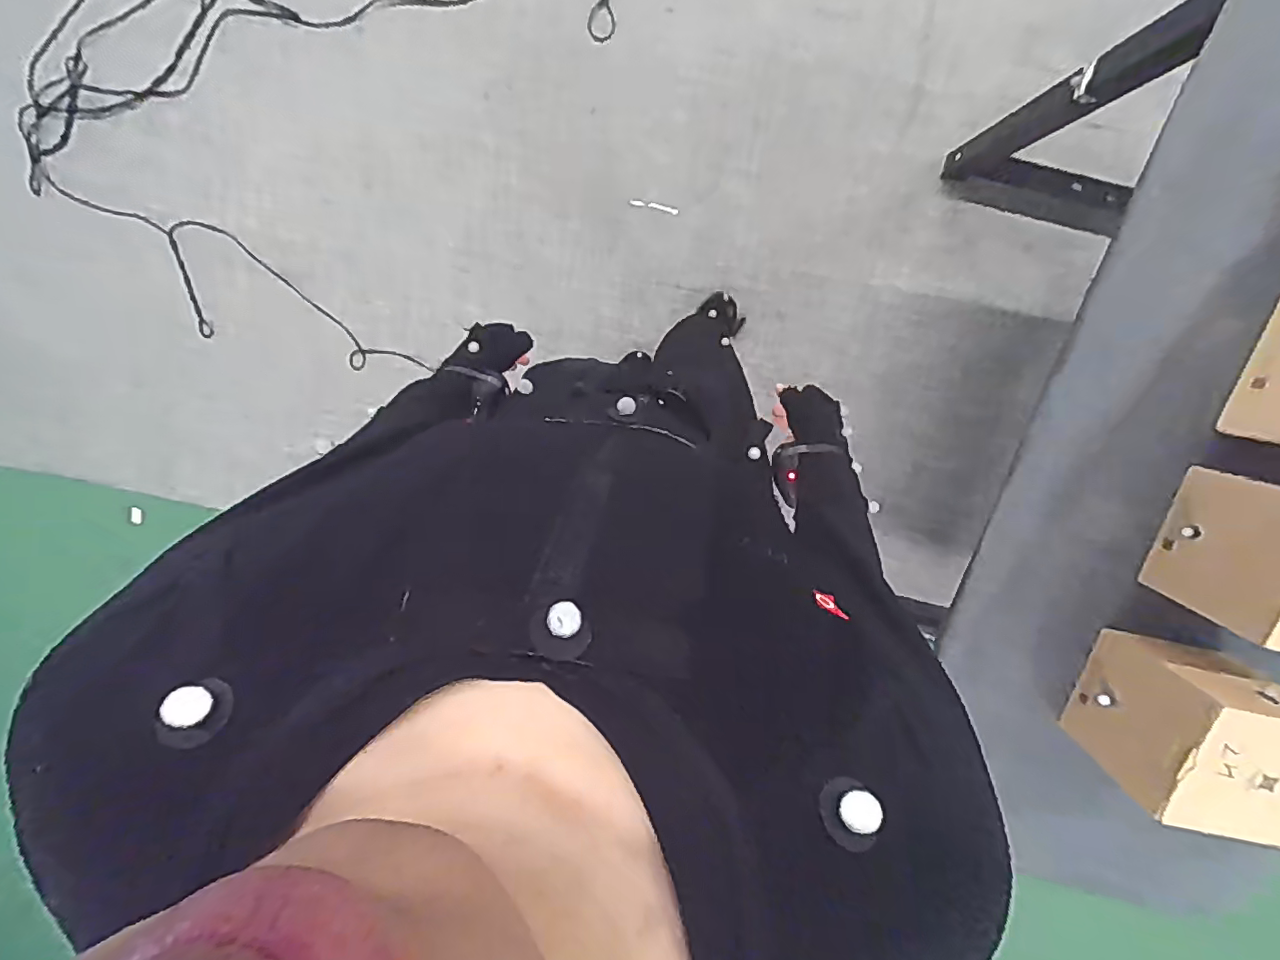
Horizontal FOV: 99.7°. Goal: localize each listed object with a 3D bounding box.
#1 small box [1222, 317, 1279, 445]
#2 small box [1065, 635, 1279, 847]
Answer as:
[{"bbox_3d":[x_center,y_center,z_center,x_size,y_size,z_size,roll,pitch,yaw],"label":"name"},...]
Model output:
[{"bbox_3d":[0.813,-0.102,0.580,0.179,0.176,0.168,12,105,-2],"label":"small box"},{"bbox_3d":[0.712,0.322,0.693,0.179,0.176,0.168,12,104,-1],"label":"small box"}]
